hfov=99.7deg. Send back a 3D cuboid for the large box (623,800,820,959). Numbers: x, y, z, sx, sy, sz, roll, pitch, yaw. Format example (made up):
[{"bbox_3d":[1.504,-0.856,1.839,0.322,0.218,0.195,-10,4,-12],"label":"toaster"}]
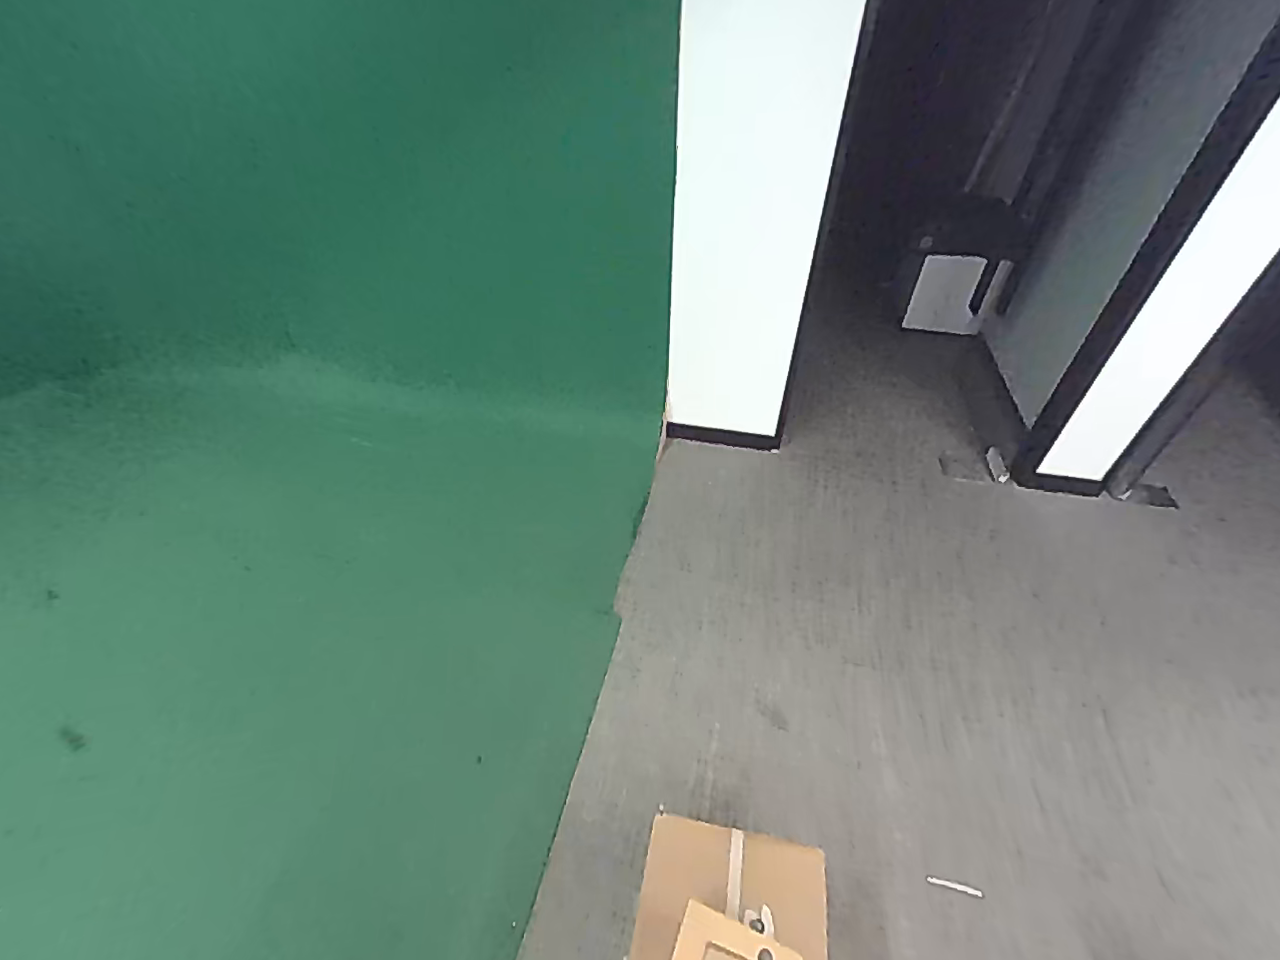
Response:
[{"bbox_3d":[0.135,0.872,0.965,0.320,0.320,0.408,8,43,9],"label":"large box"}]

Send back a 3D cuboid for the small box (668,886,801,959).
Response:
[{"bbox_3d":[0.115,0.726,0.763,0.168,0.176,0.179,15,46,18],"label":"small box"}]
